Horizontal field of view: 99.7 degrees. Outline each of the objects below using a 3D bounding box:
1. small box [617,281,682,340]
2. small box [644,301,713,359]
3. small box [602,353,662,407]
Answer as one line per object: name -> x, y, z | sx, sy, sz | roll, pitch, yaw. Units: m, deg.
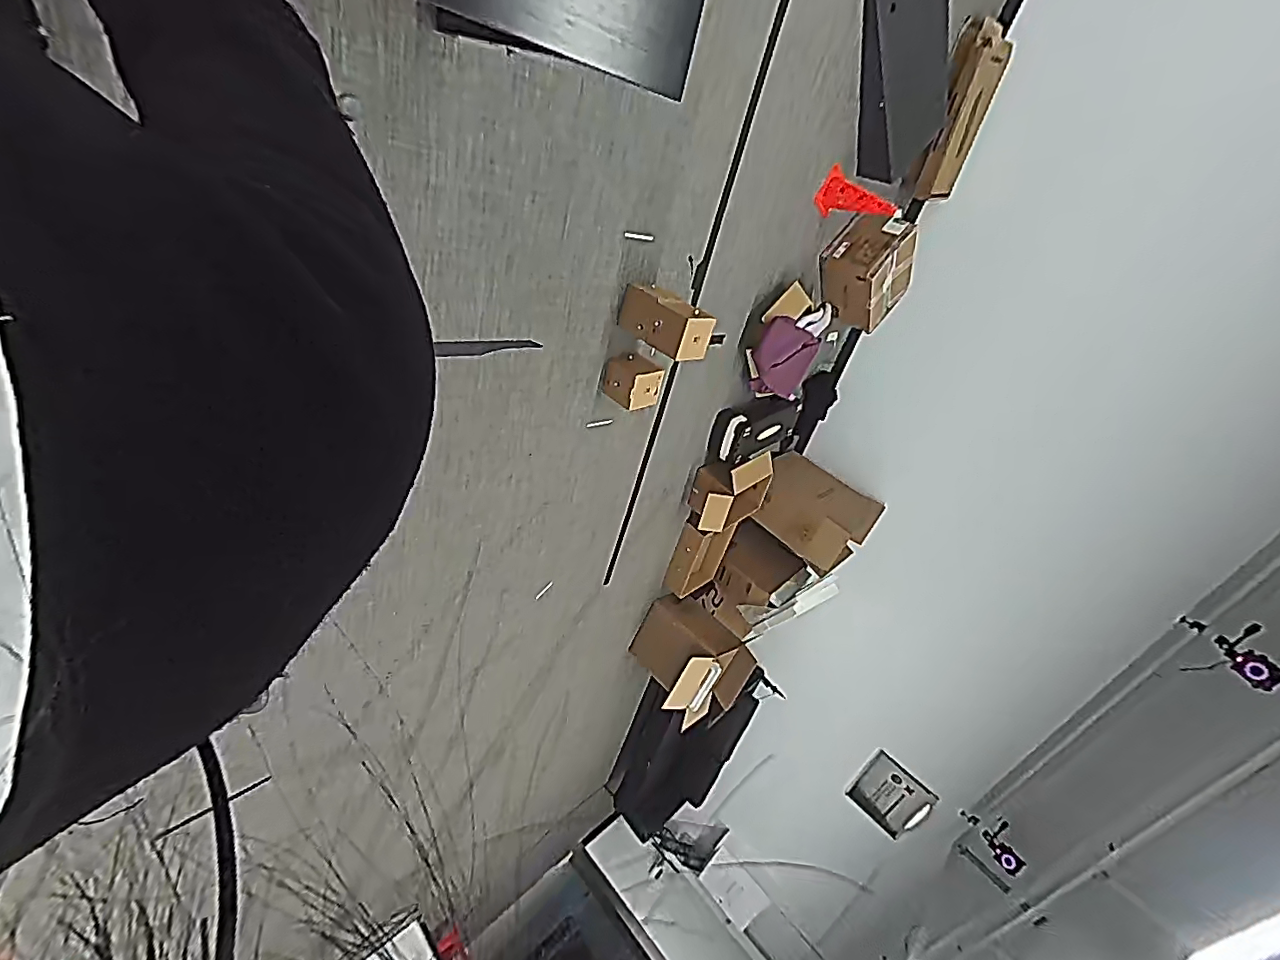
small box -> 0.032, -0.669, 2.139 | 0.168, 0.176, 0.179 | -17, 134, -45
small box -> 0.144, -0.578, 2.064 | 0.179, 0.176, 0.168 | -17, 134, -43
small box -> -0.038, -0.430, 2.302 | 0.179, 0.176, 0.168 | -20, 137, -41
